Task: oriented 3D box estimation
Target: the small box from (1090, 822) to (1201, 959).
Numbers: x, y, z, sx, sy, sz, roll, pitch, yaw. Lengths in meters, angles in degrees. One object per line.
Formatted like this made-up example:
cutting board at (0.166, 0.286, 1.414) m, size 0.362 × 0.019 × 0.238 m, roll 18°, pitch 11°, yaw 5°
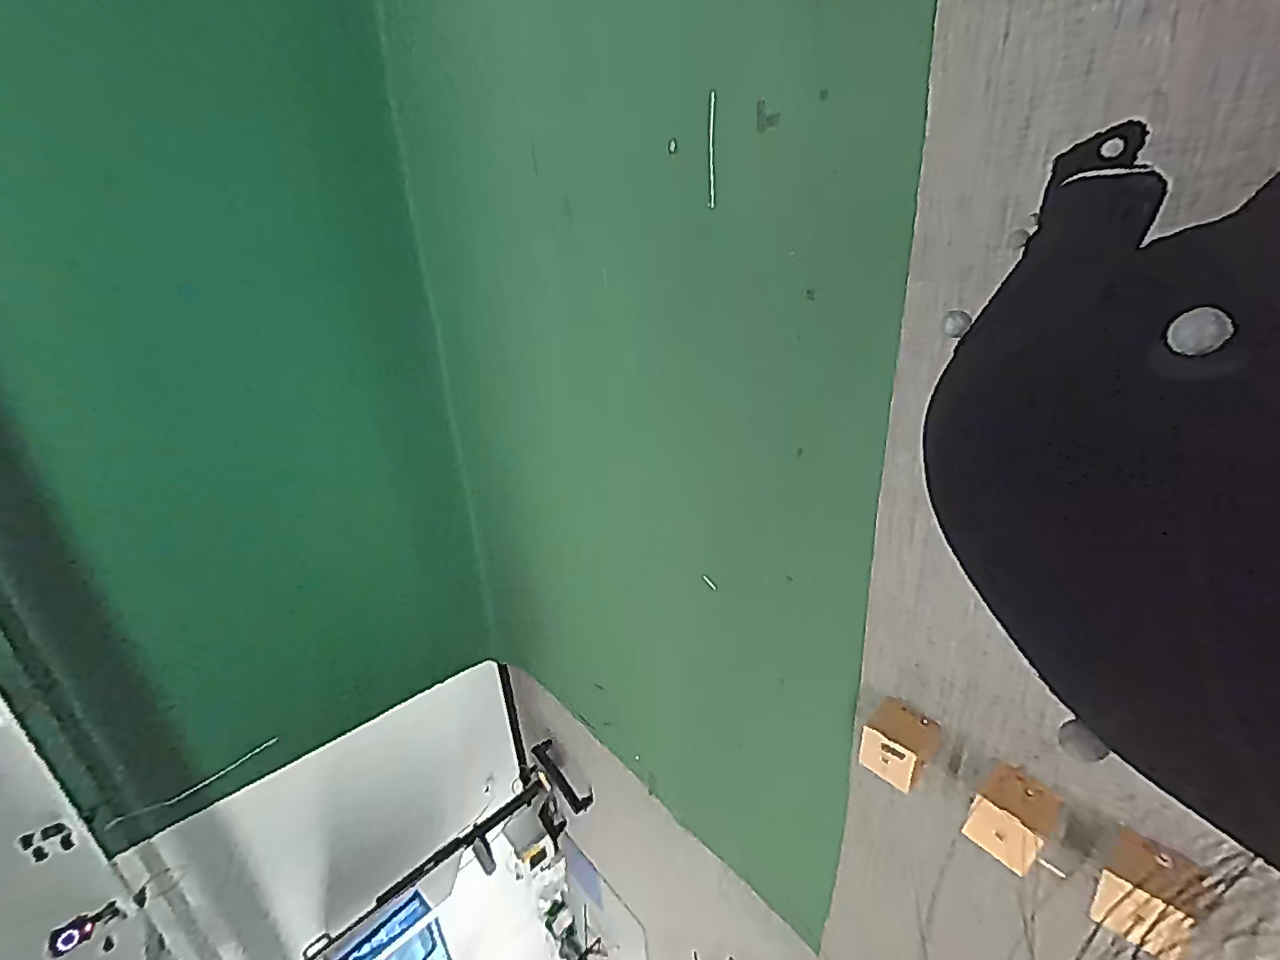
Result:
small box at (1.238, 1.000, 1.324) m, size 0.168 × 0.176 × 0.179 m, roll 15°, pitch 117°, yaw 45°

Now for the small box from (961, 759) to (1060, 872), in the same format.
small box at (1.050, 0.941, 1.530) m, size 0.168 × 0.176 × 0.179 m, roll 27°, pitch 126°, yaw 41°

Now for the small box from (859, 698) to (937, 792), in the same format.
small box at (0.836, 0.846, 1.747) m, size 0.168 × 0.176 × 0.179 m, roll 22°, pitch 124°, yaw 44°
